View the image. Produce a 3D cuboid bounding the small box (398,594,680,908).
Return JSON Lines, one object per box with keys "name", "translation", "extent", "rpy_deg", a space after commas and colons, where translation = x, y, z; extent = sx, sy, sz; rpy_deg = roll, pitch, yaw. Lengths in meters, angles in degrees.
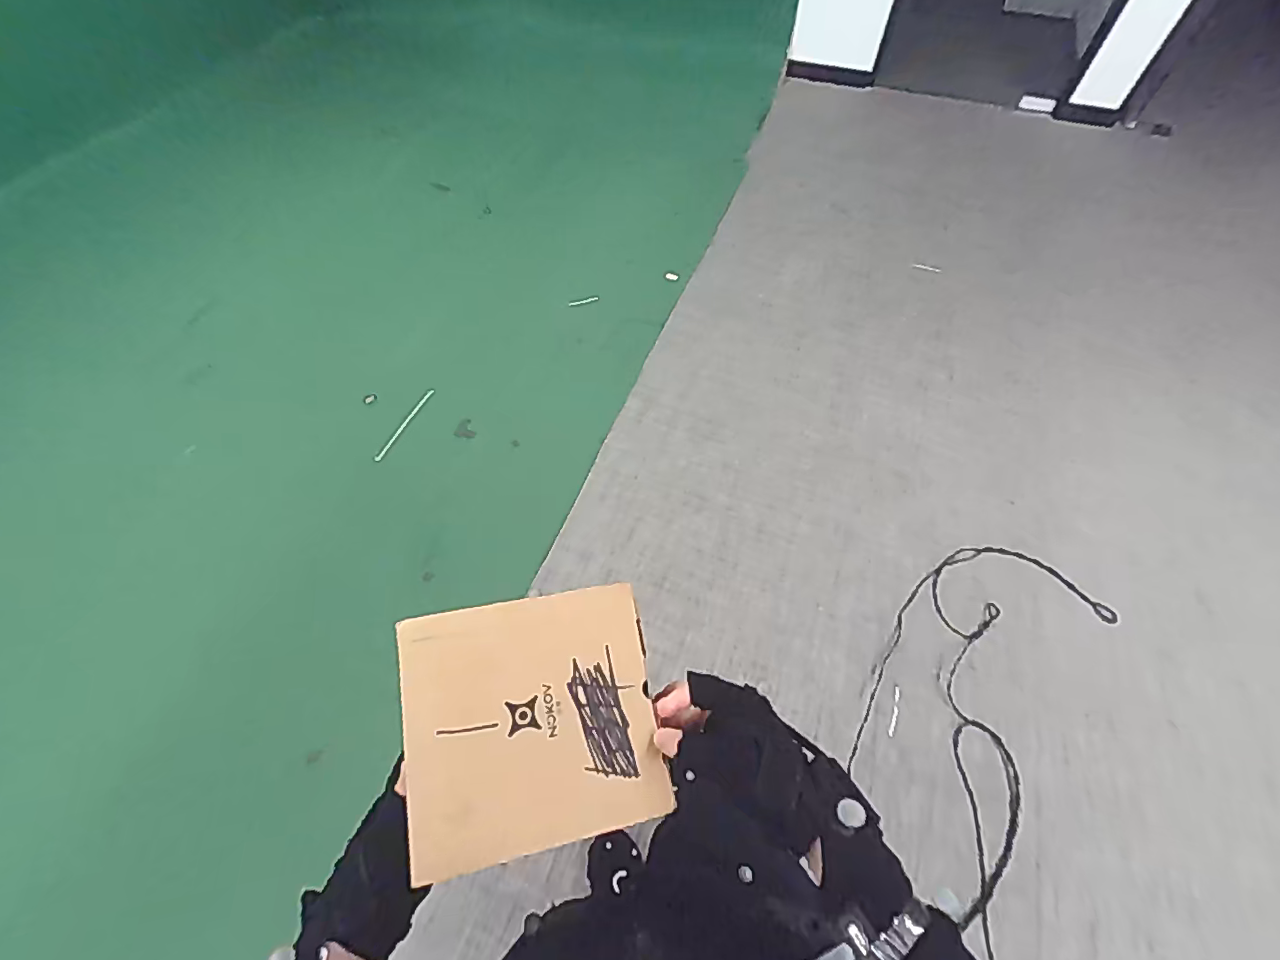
{"name": "small box", "translation": [-0.086, 0.199, 0.442], "extent": [0.179, 0.176, 0.168], "rpy_deg": [-7, 70, -15]}
